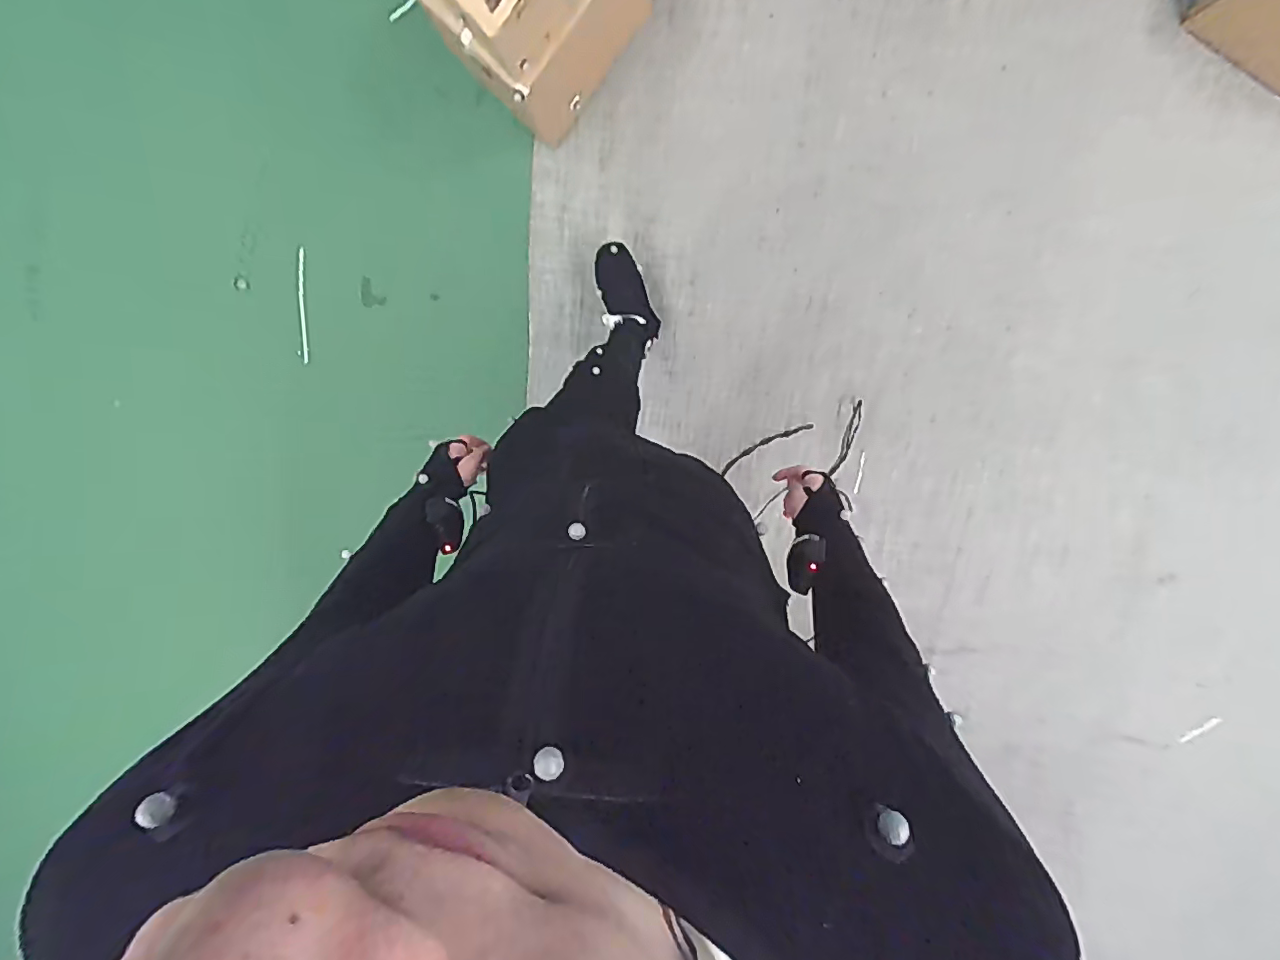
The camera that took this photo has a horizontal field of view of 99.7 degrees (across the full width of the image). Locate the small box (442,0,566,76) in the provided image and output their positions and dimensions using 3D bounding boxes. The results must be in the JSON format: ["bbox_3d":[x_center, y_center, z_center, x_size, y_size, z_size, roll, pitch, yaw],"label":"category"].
[{"bbox_3d":[-0.259,-0.901,1.001,0.179,0.176,0.168,44,100,-7],"label":"small box"}]

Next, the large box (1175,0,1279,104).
[{"bbox_3d":[1.518,-1.070,1.133,0.408,0.320,0.320,29,102,-3],"label":"large box"}]
